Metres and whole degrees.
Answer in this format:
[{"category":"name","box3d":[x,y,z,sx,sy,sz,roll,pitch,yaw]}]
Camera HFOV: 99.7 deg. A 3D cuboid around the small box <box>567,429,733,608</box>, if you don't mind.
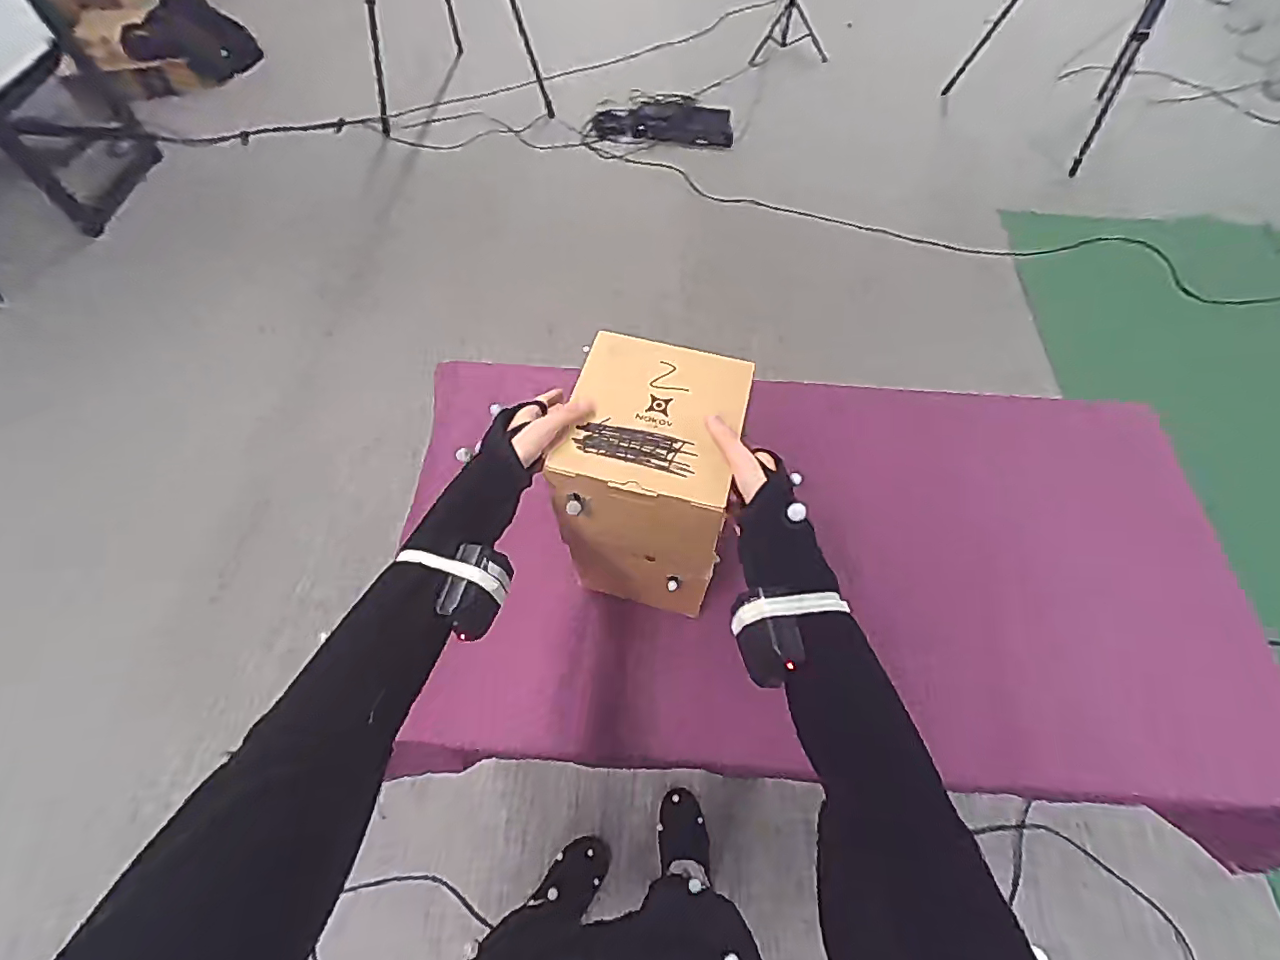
[{"category":"small box","box3d":[0.014,0.059,0.736,0.179,0.176,0.168,14,60,6]}]
